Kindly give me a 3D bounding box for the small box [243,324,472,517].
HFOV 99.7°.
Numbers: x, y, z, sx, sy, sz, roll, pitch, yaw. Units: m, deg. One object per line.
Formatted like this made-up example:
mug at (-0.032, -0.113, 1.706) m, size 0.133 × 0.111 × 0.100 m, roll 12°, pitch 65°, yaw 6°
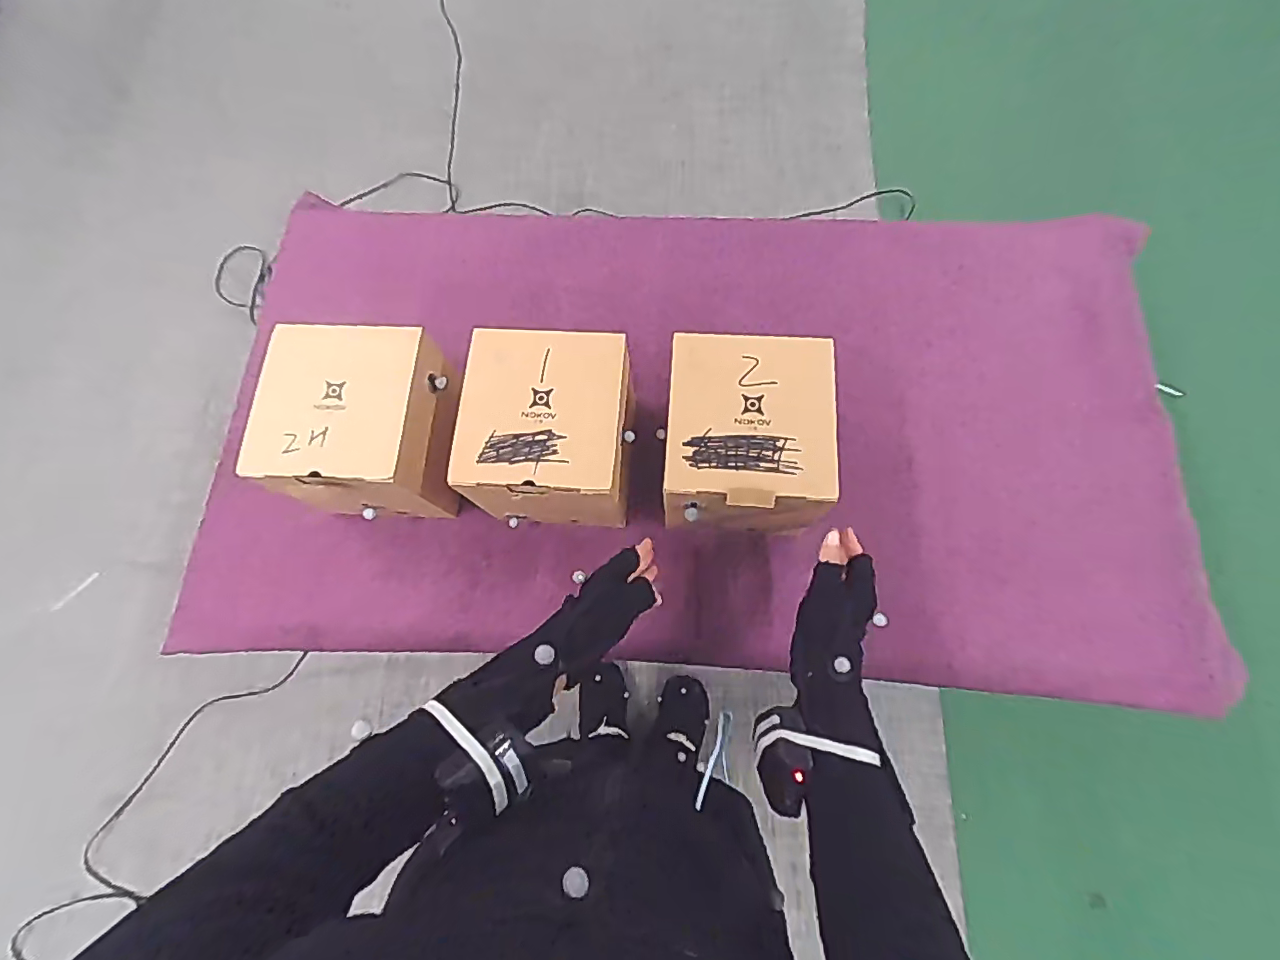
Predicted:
small box at (-0.313, -0.063, 0.643) m, size 0.168 × 0.176 × 0.179 m, roll 2°, pitch 74°, yaw 4°
